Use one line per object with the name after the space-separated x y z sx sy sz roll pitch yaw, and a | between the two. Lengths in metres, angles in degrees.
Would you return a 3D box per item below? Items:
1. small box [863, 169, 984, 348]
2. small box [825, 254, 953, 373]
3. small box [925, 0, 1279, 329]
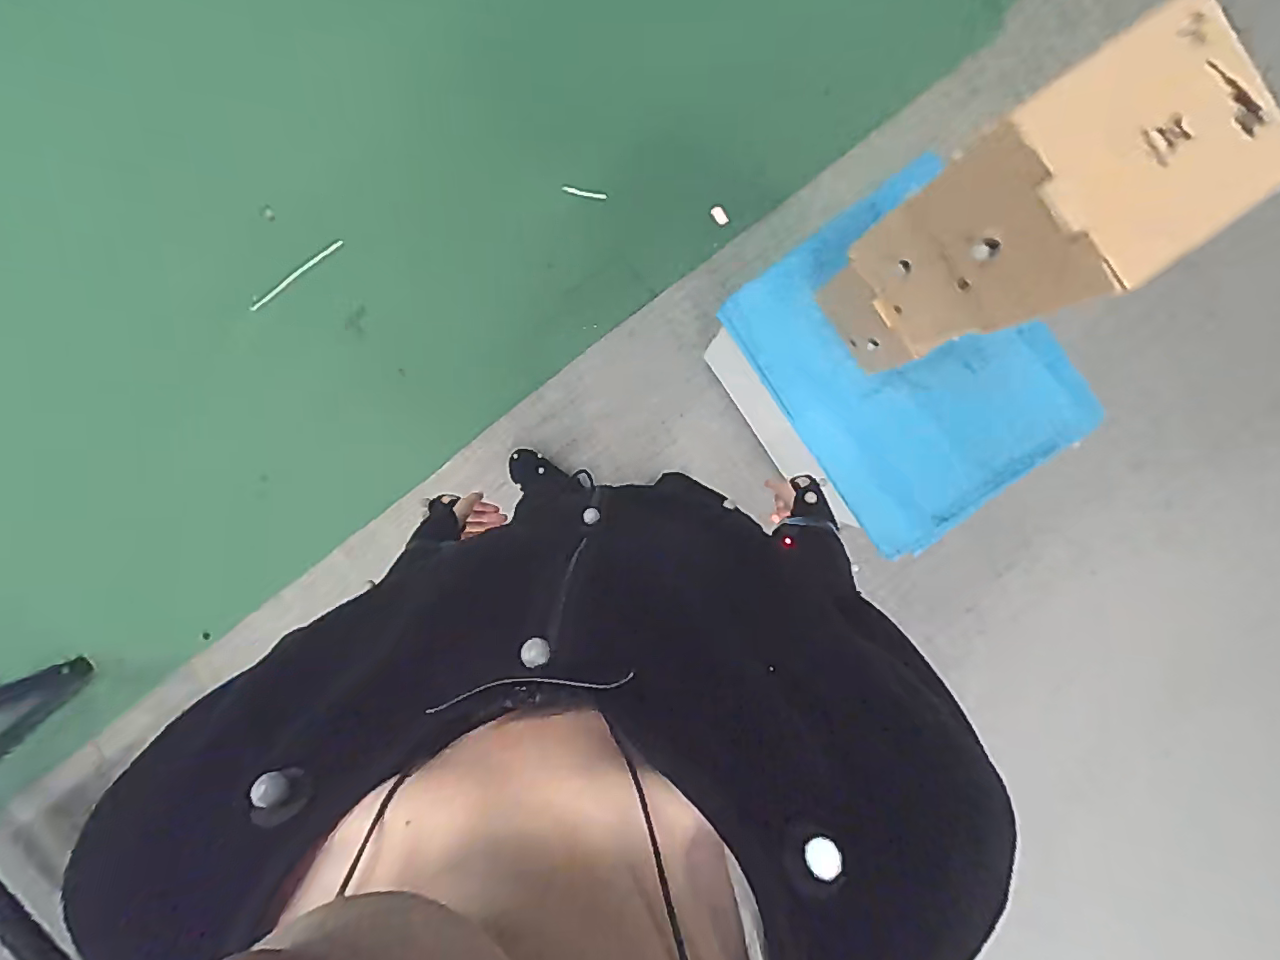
0.398 -0.281 0.650 0.179 0.176 0.168 -33 94 0 | small box
0.404 -0.280 0.812 0.179 0.176 0.168 -34 94 1 | small box
0.394 -0.260 0.486 0.179 0.176 0.168 -33 94 1 | small box
